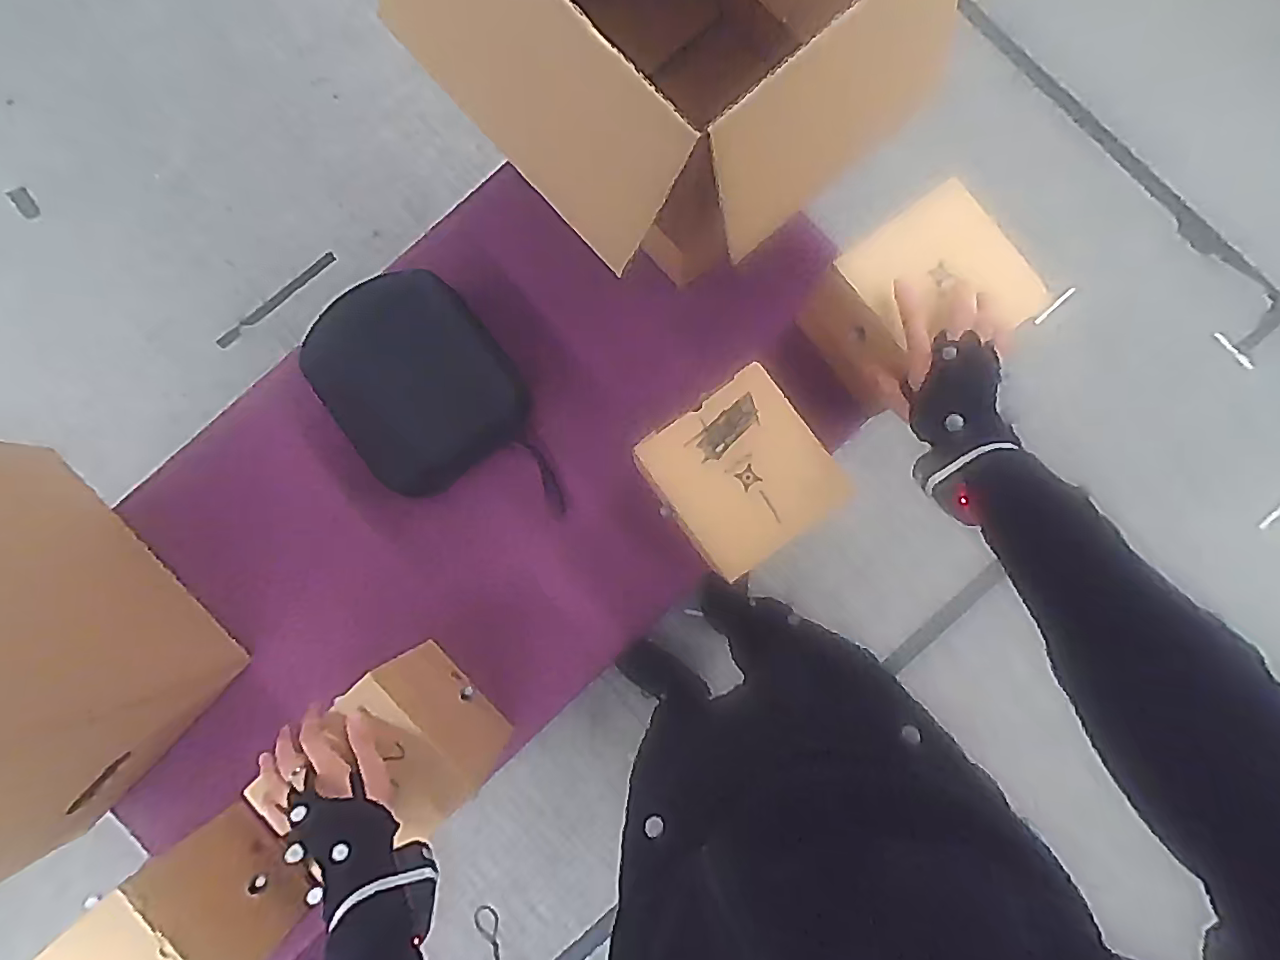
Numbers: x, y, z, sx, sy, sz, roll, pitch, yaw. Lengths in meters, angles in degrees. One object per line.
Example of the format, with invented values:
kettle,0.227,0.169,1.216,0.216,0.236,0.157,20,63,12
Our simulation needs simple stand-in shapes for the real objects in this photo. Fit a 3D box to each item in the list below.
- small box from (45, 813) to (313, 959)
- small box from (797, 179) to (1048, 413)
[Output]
small box,-0.529,0.538,0.617,0.179,0.176,0.168,-42,86,-3
small box,0.317,-0.204,0.653,0.168,0.176,0.179,-36,86,-1
